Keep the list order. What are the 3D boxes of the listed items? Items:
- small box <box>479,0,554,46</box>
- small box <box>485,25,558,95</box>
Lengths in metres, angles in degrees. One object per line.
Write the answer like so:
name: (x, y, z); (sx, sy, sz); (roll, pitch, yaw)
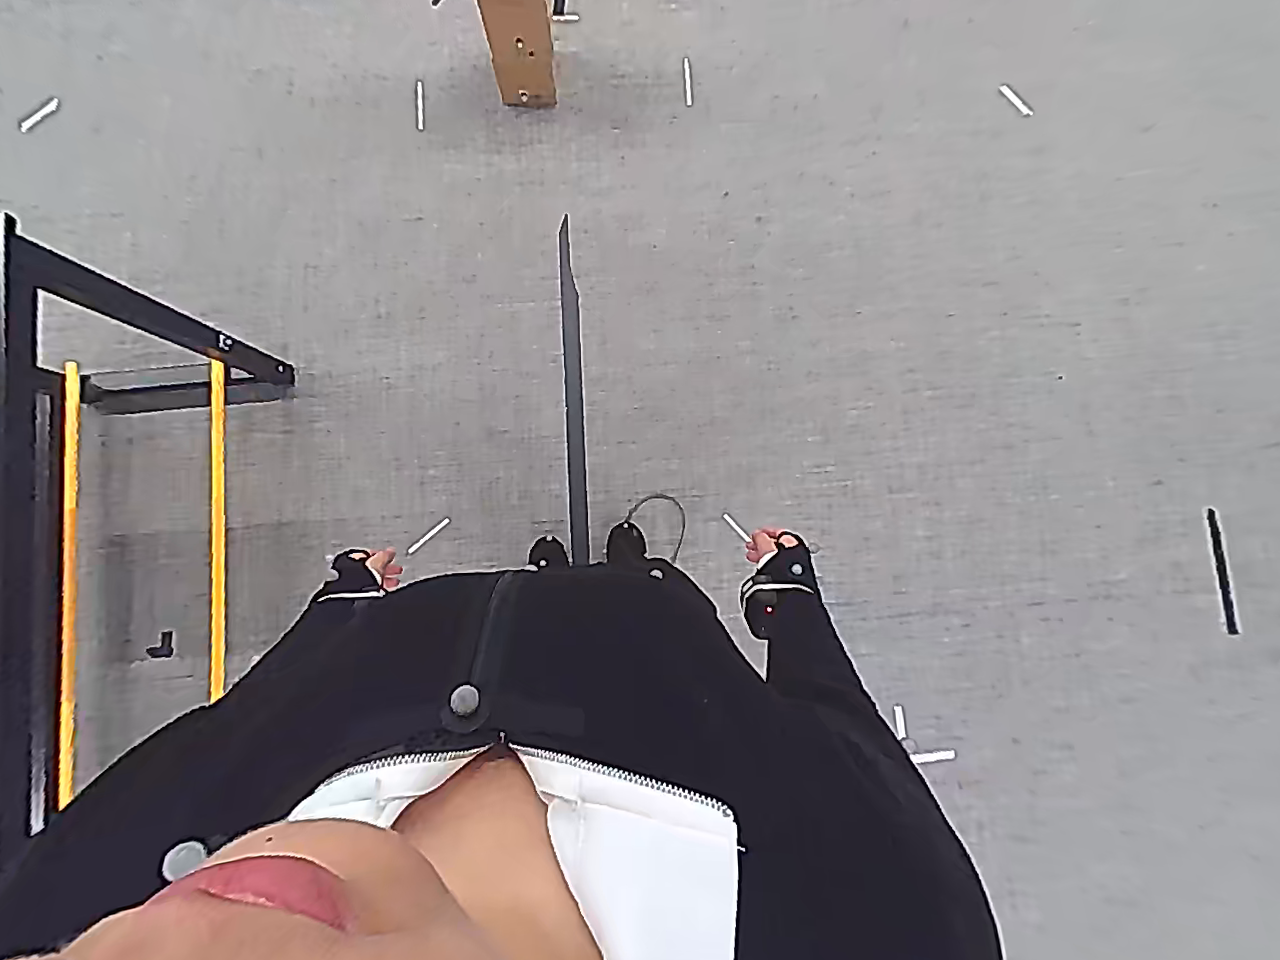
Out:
small box: (-0.299, -1.185, 1.285); (0.168, 0.176, 0.179); (-4, 85, -1)
small box: (-0.314, -1.179, 1.449); (0.168, 0.176, 0.179); (-4, 87, -2)
